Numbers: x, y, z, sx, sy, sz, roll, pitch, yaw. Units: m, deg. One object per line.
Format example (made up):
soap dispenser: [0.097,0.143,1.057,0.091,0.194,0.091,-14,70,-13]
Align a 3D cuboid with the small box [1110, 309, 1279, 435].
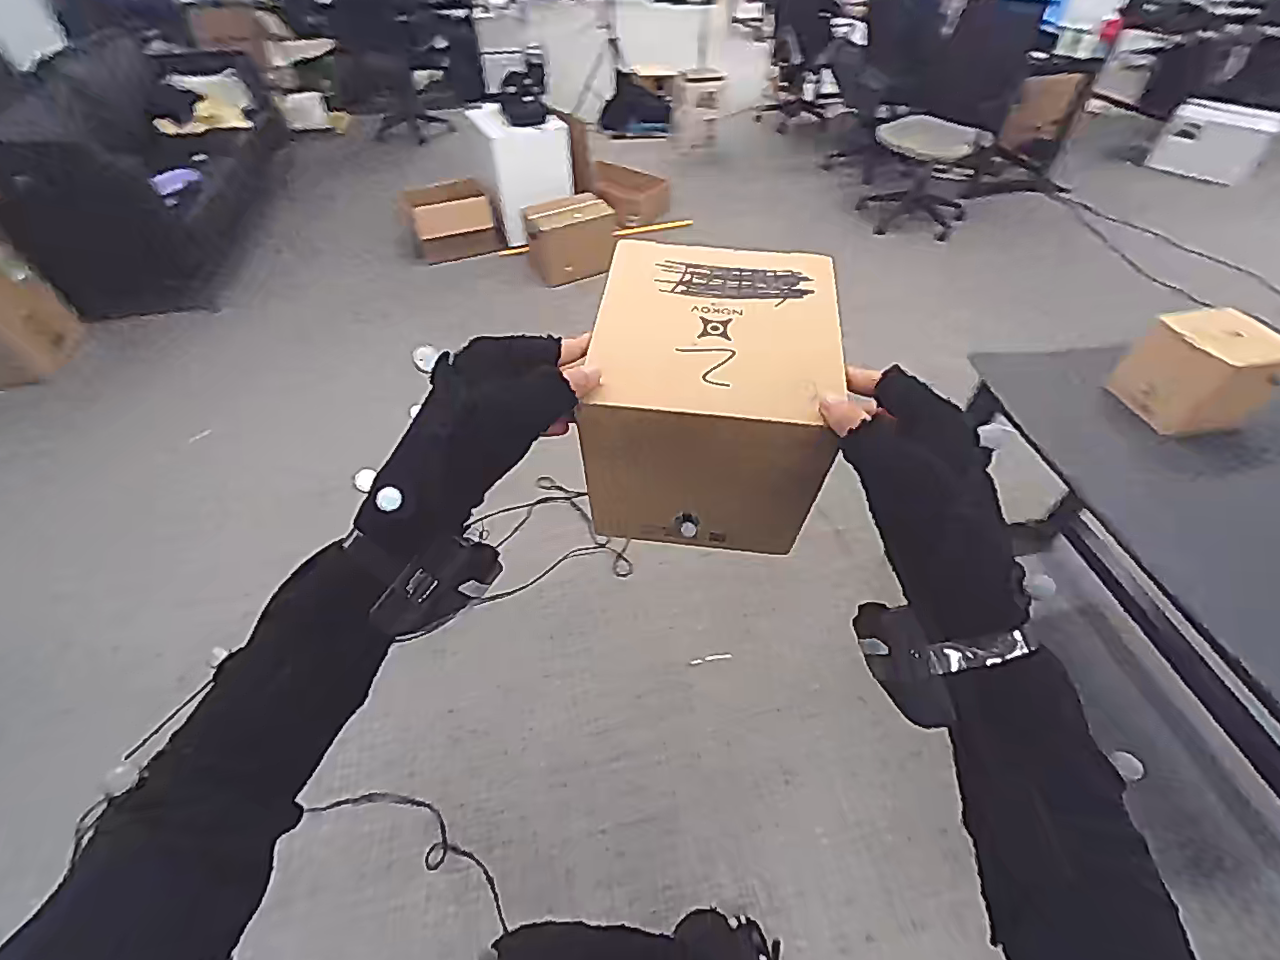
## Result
small box: [1.087,-0.208,1.048,0.179,0.176,0.168,-8,49,-6]
